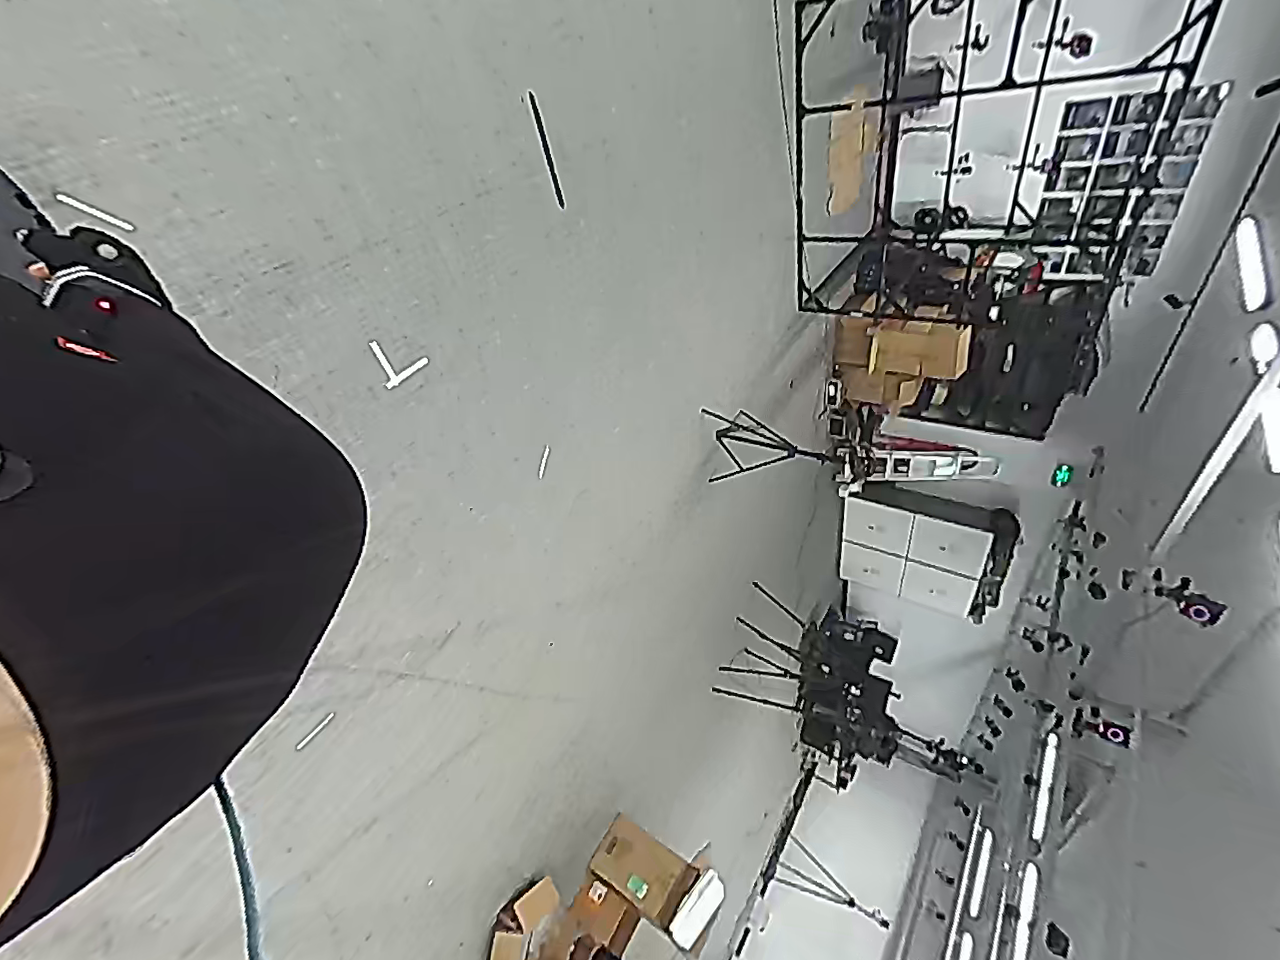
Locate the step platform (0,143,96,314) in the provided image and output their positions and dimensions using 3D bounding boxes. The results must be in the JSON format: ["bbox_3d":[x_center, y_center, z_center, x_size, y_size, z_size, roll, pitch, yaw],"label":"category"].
[{"bbox_3d":[-1.324,-0.330,0.849,0.684,0.204,0.286,-50,142,-34],"label":"step platform"}]
